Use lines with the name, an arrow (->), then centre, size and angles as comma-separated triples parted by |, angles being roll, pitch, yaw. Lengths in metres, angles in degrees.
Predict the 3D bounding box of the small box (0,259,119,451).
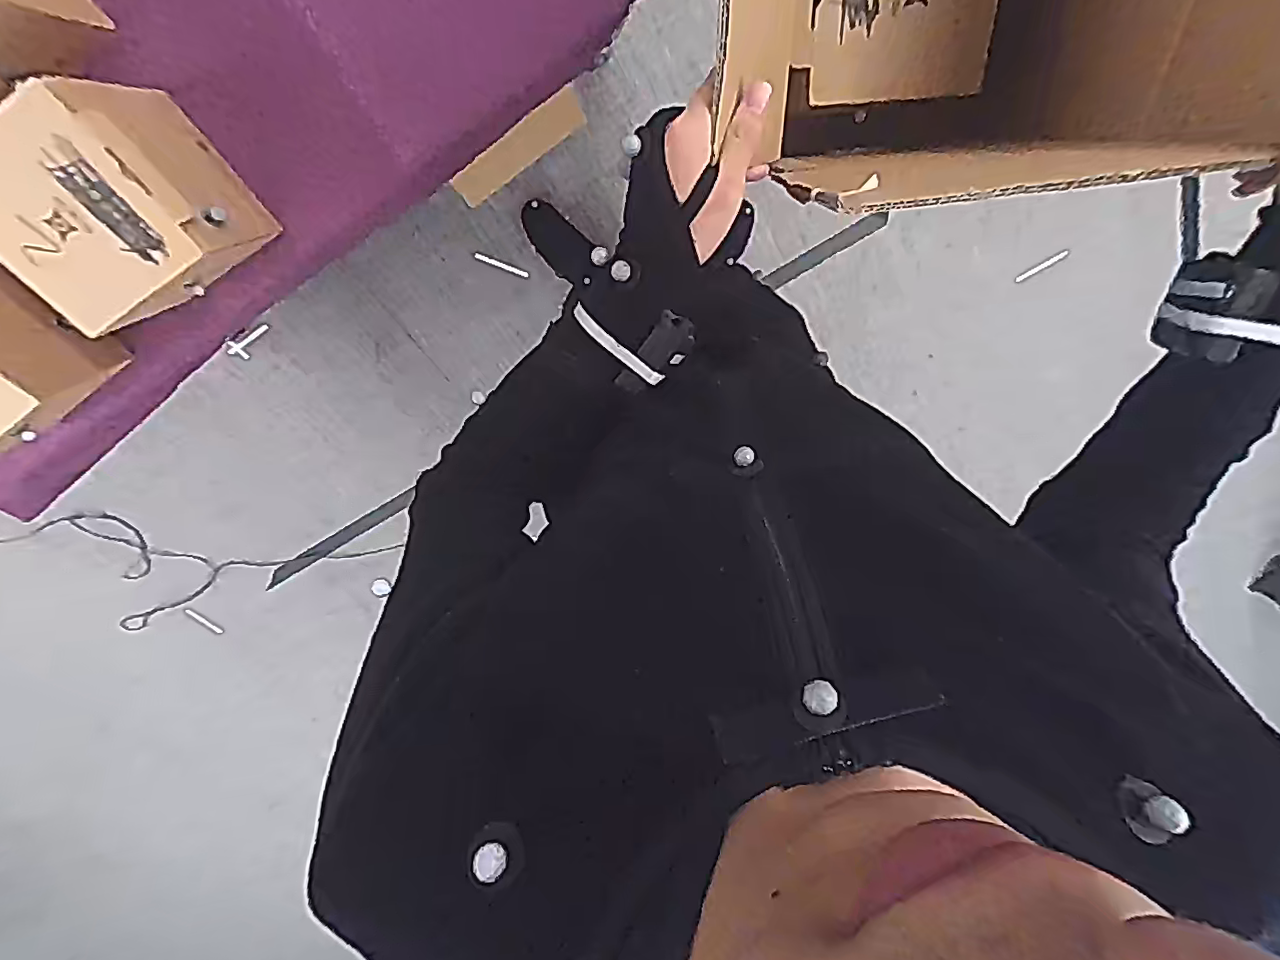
small box -> -0.788, -0.131, 0.633 | 0.179, 0.176, 0.168 | -31, 121, 10
